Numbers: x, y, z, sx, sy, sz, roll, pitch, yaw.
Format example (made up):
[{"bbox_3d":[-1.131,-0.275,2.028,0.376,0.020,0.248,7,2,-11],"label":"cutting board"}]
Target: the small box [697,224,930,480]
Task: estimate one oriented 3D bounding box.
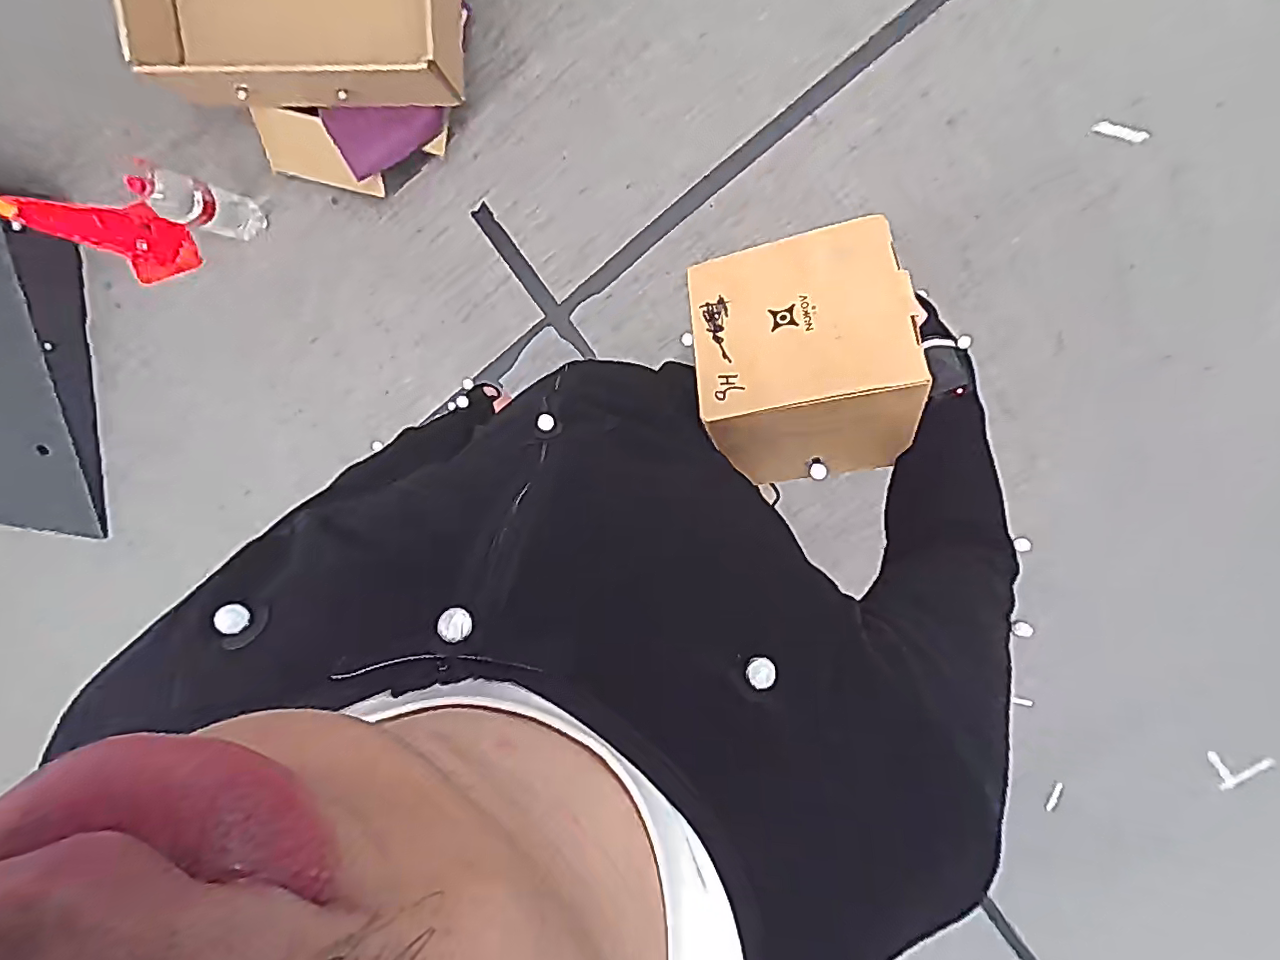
[{"bbox_3d":[0.162,-0.111,0.538,0.179,0.176,0.168,-9,67,16],"label":"small box"}]
